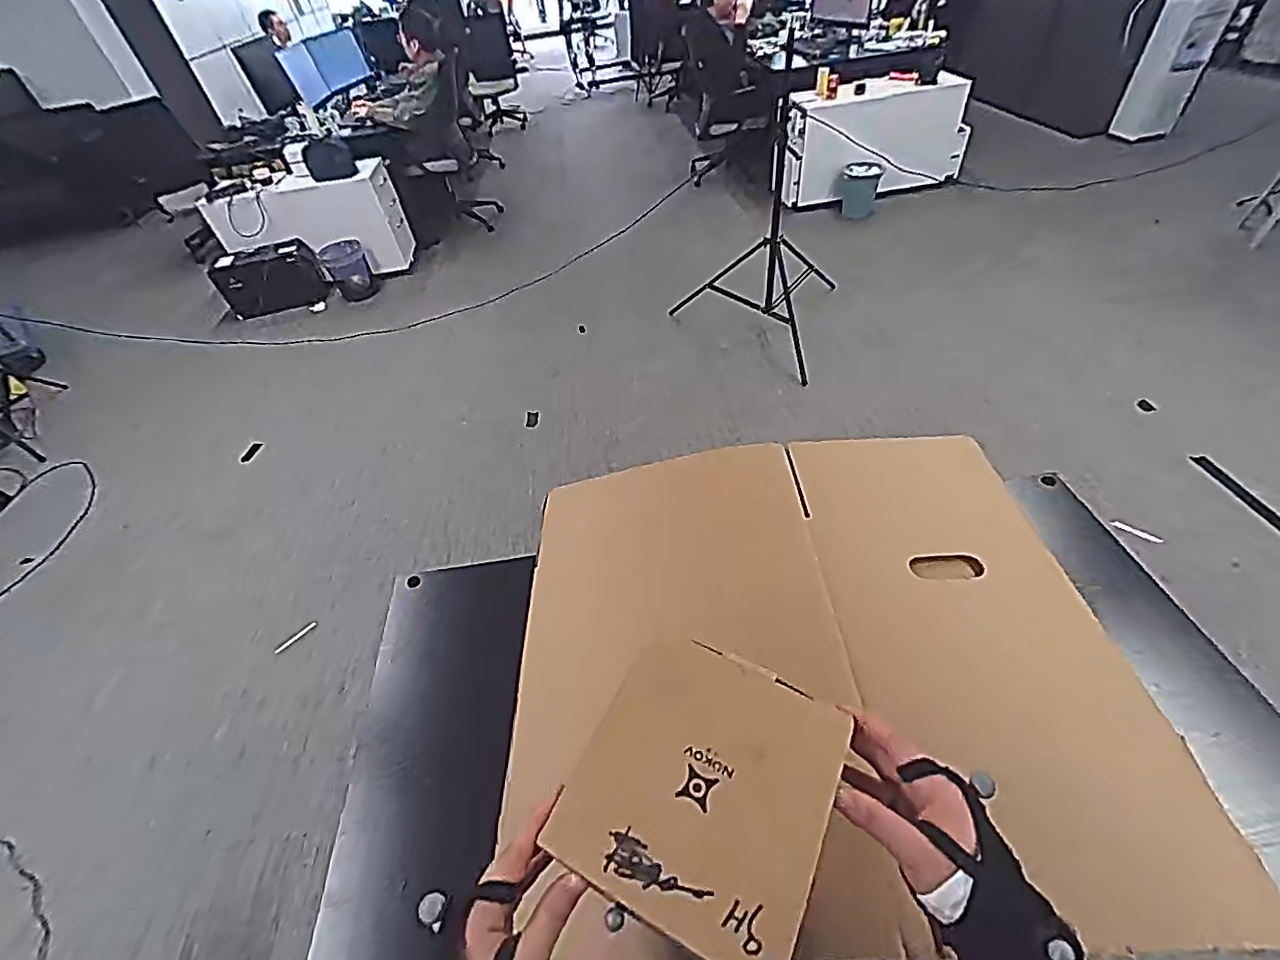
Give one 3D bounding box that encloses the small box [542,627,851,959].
[{"bbox_3d":[0.049,0.258,0.432,0.168,0.176,0.179,19,51,23],"label":"small box"}]
